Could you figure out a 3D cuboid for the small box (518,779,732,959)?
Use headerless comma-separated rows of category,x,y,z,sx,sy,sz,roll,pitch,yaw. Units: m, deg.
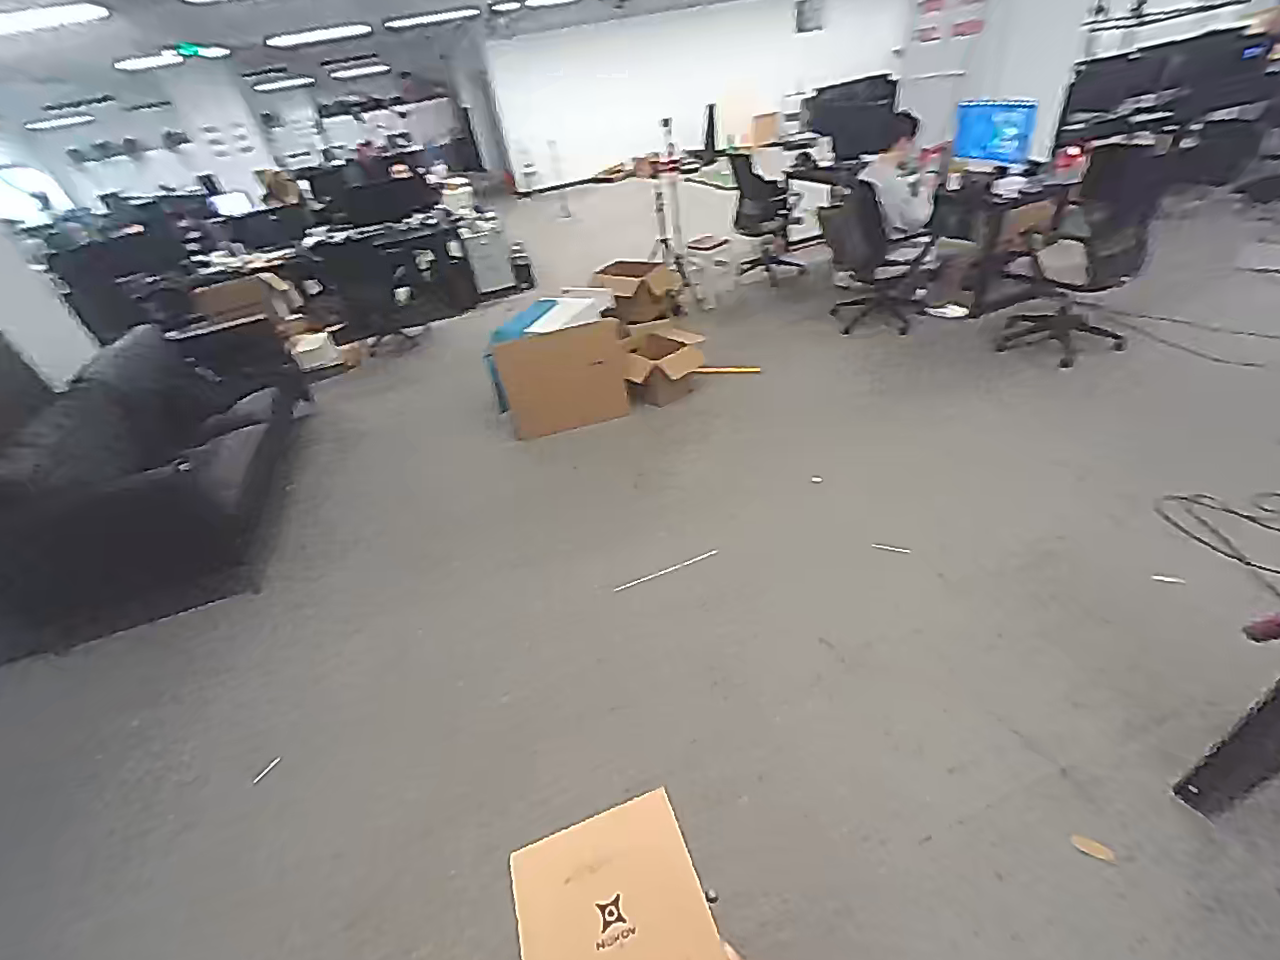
small box,-0.008,0.438,0.522,0.168,0.176,0.179,-17,35,-9
